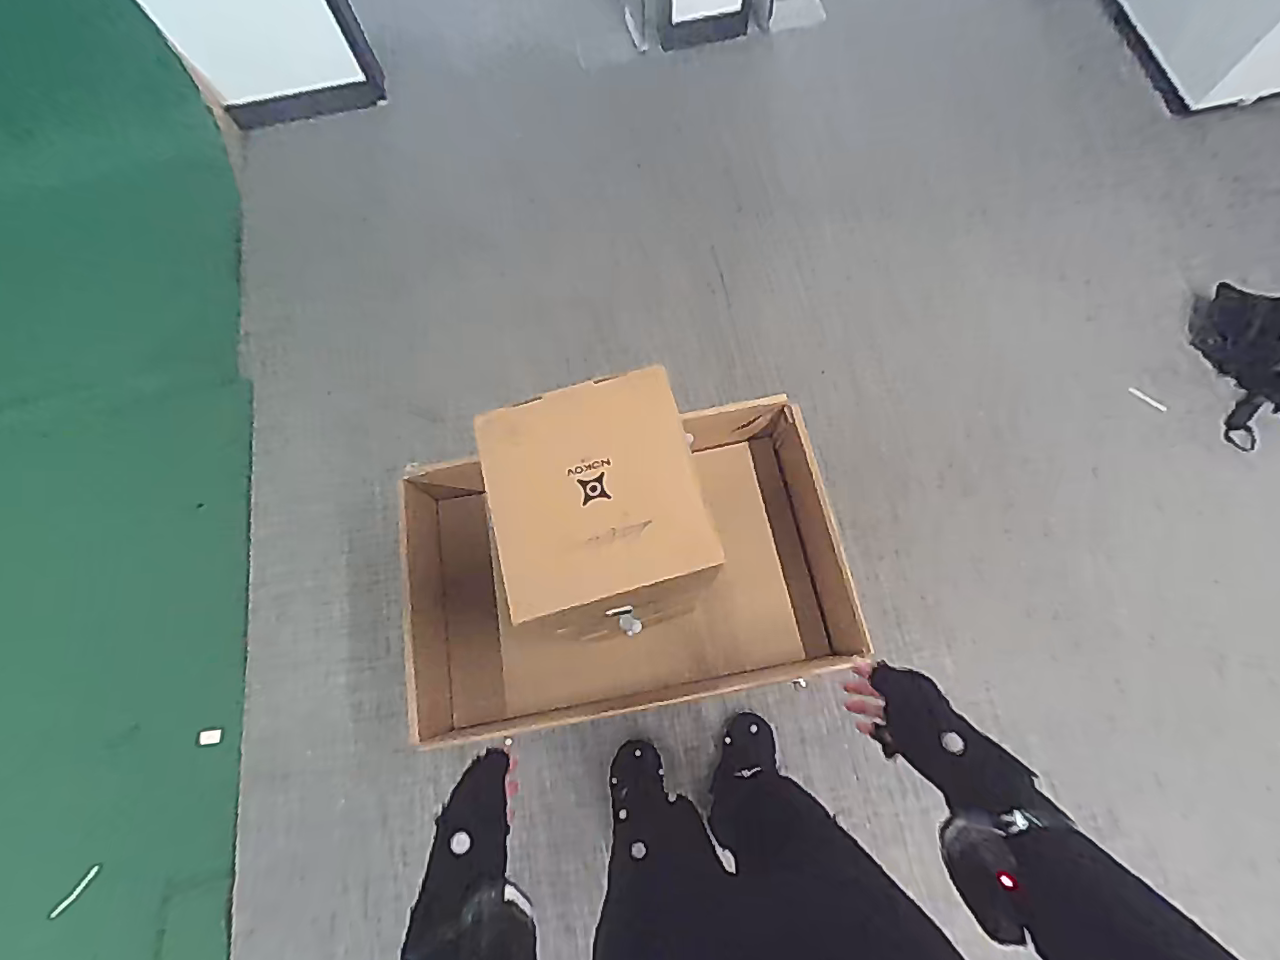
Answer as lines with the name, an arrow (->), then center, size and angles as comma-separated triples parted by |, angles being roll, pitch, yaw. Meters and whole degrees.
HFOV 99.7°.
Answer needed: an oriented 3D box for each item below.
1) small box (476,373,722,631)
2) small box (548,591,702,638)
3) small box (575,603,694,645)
small box -> -0.034, 0.032, 0.505 | 0.168, 0.176, 0.179 | -17, 73, -1
small box -> -0.032, 0.083, 0.658 | 0.168, 0.176, 0.179 | -16, 72, -2
small box -> -0.025, 0.138, 0.813 | 0.168, 0.176, 0.179 | -18, 71, -2
